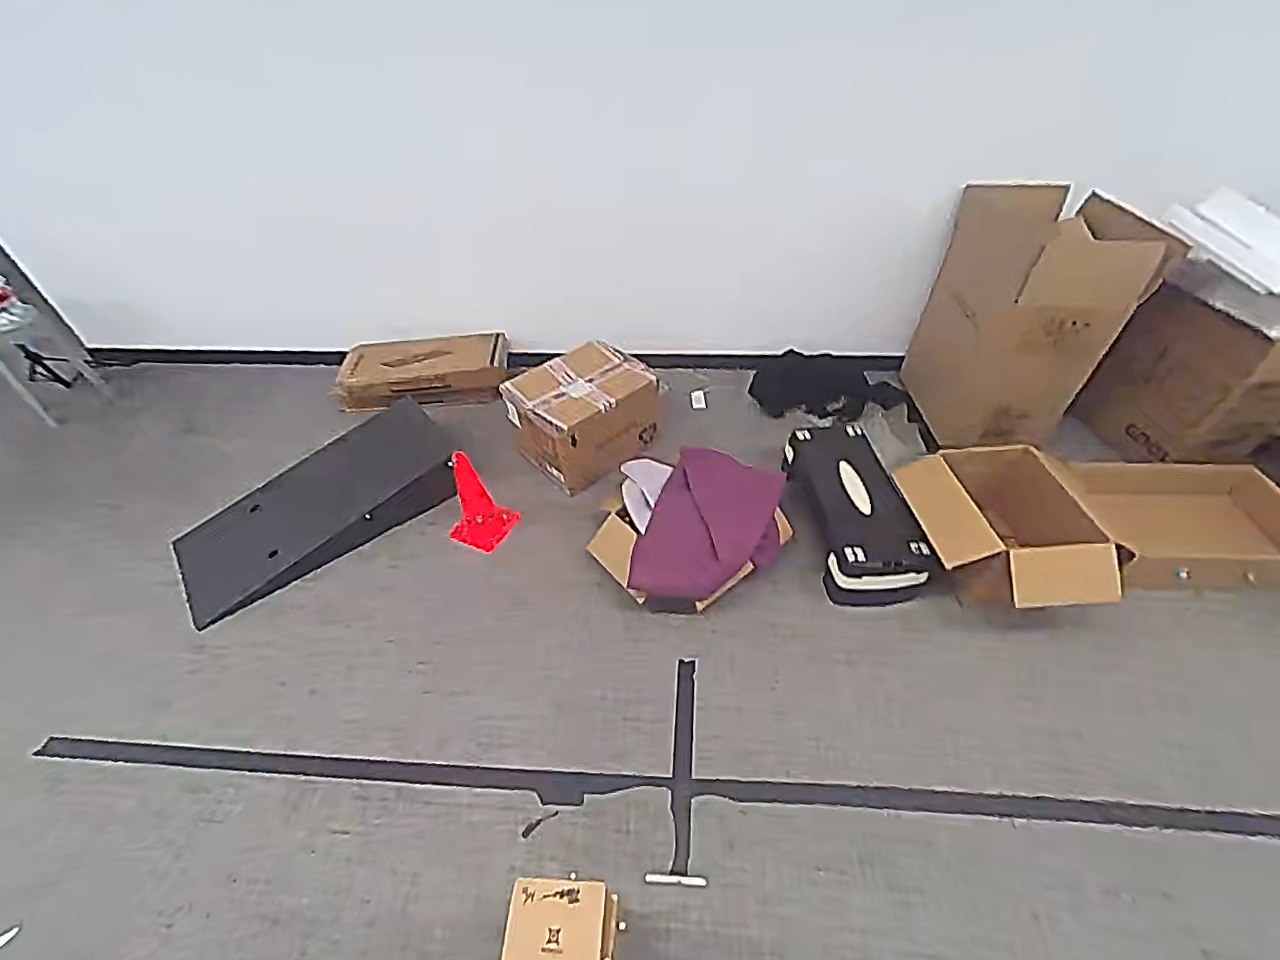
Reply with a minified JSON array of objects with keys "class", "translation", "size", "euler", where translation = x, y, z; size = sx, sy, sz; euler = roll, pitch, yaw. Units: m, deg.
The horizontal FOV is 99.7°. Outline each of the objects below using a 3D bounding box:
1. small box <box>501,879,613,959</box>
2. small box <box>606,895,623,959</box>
[{"class":"small box","translation":[-0.142,0.832,0.955],"size":[0.168,0.176,0.179],"euler":[1,45,5]},{"class":"small box","translation":[-0.127,0.942,1.076],"size":[0.168,0.176,0.179],"euler":[2,44,6]}]
